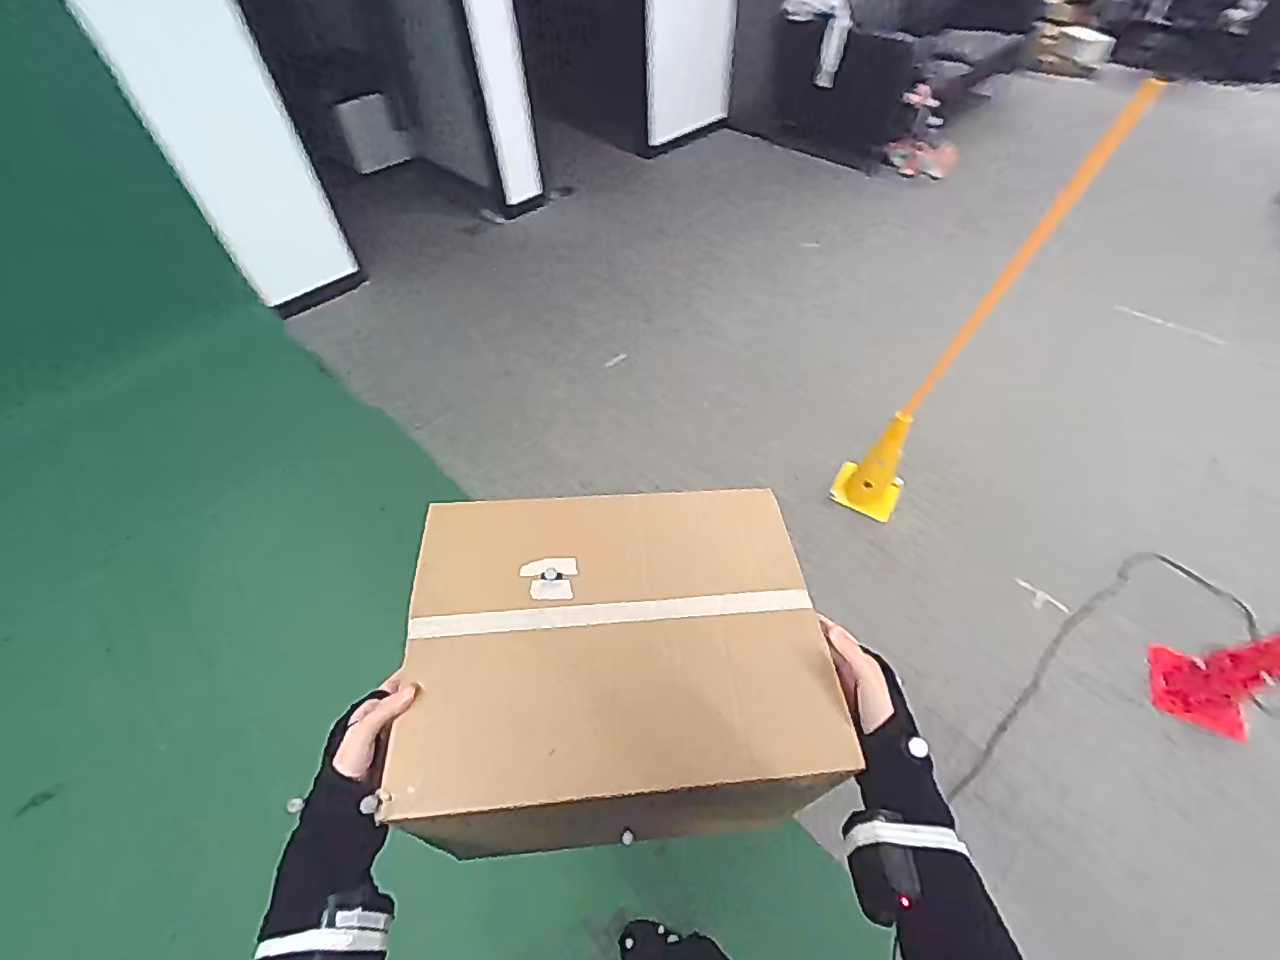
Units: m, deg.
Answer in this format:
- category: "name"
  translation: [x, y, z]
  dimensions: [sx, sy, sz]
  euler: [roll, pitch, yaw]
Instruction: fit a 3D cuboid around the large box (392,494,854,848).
- category: "large box"
  translation: [-0.025, 0.239, 0.665]
  dimensions: [0.408, 0.320, 0.320]
  euler: [-2, 50, -5]
